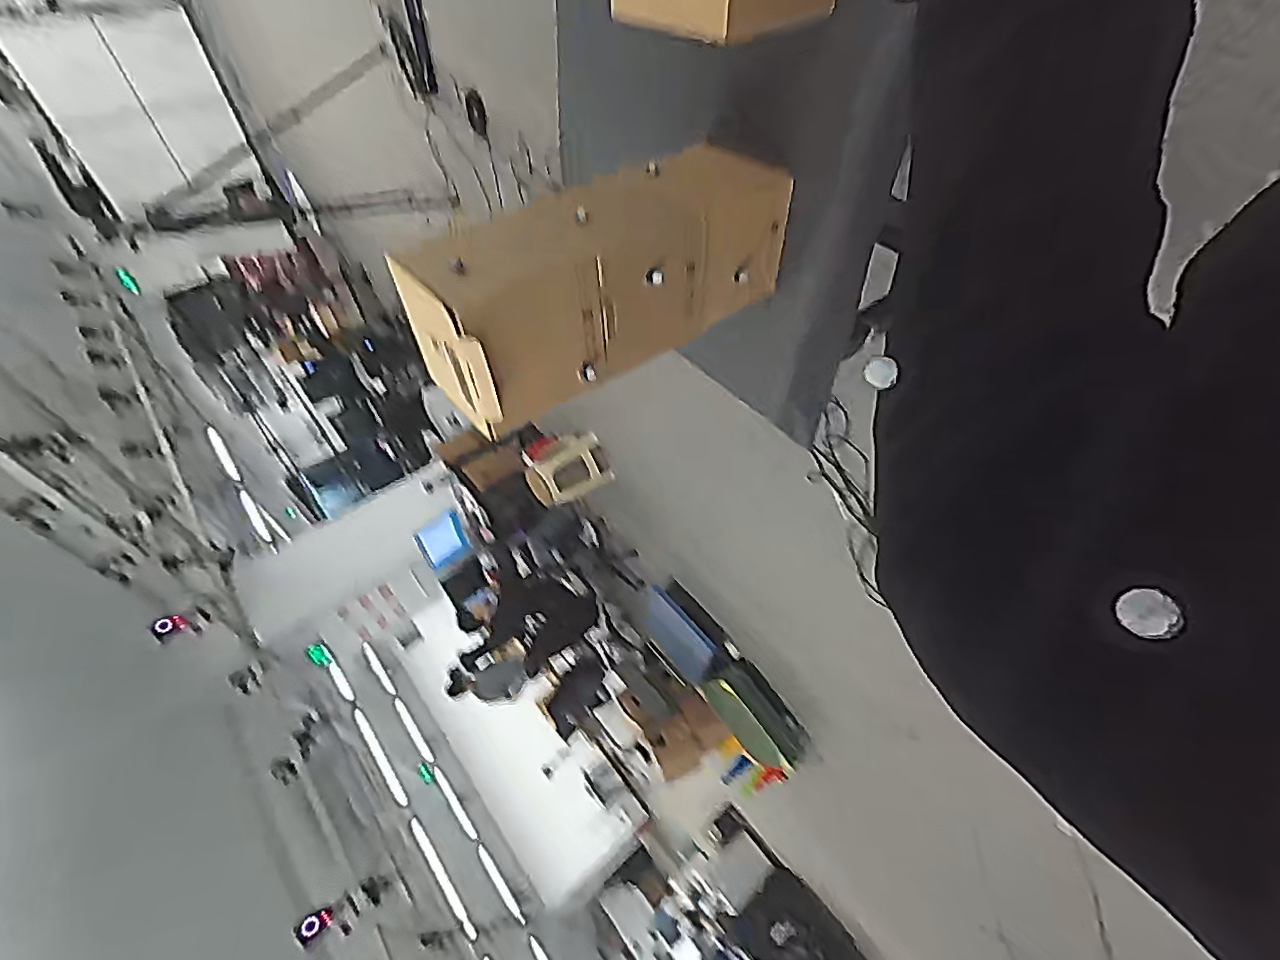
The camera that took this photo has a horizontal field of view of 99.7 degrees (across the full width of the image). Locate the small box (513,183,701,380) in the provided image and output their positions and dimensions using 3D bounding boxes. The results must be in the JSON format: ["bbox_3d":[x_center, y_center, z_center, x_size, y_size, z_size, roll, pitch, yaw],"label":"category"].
[{"bbox_3d":[-0.037,-0.267,0.709,0.179,0.176,0.168,41,150,33],"label":"small box"}]

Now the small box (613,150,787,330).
[{"bbox_3d":[0.084,-0.351,0.777,0.179,0.176,0.168,41,151,31],"label":"small box"}]

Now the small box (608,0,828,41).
[{"bbox_3d":[0.082,-0.560,0.529,0.179,0.176,0.168,42,152,30],"label":"small box"}]

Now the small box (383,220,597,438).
[{"bbox_3d":[-0.163,-0.186,0.640,0.179,0.176,0.168,40,149,34],"label":"small box"}]
